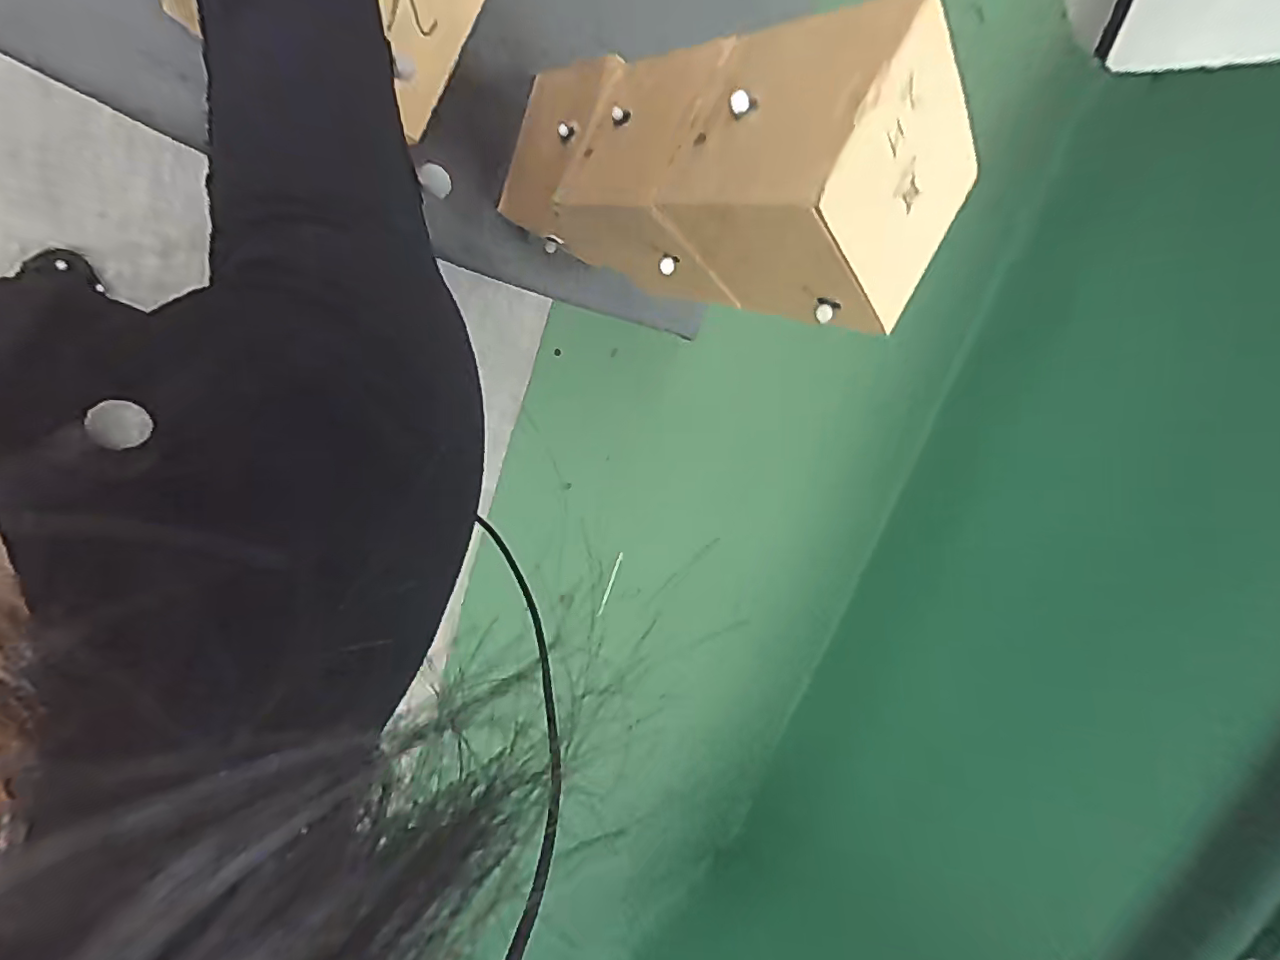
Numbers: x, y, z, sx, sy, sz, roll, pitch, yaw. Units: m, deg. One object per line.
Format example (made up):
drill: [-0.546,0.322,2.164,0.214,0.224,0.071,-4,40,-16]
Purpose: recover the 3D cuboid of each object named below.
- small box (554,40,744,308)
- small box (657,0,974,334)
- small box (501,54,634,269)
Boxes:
small box: [0.043,-0.313,0.582,0.179,0.176,0.168,25,94,-46]
small box: [0.150,-0.255,0.470,0.179,0.176,0.168,27,91,-45]
small box: [-0.054,-0.386,0.690,0.168,0.176,0.179,10,105,-44]
